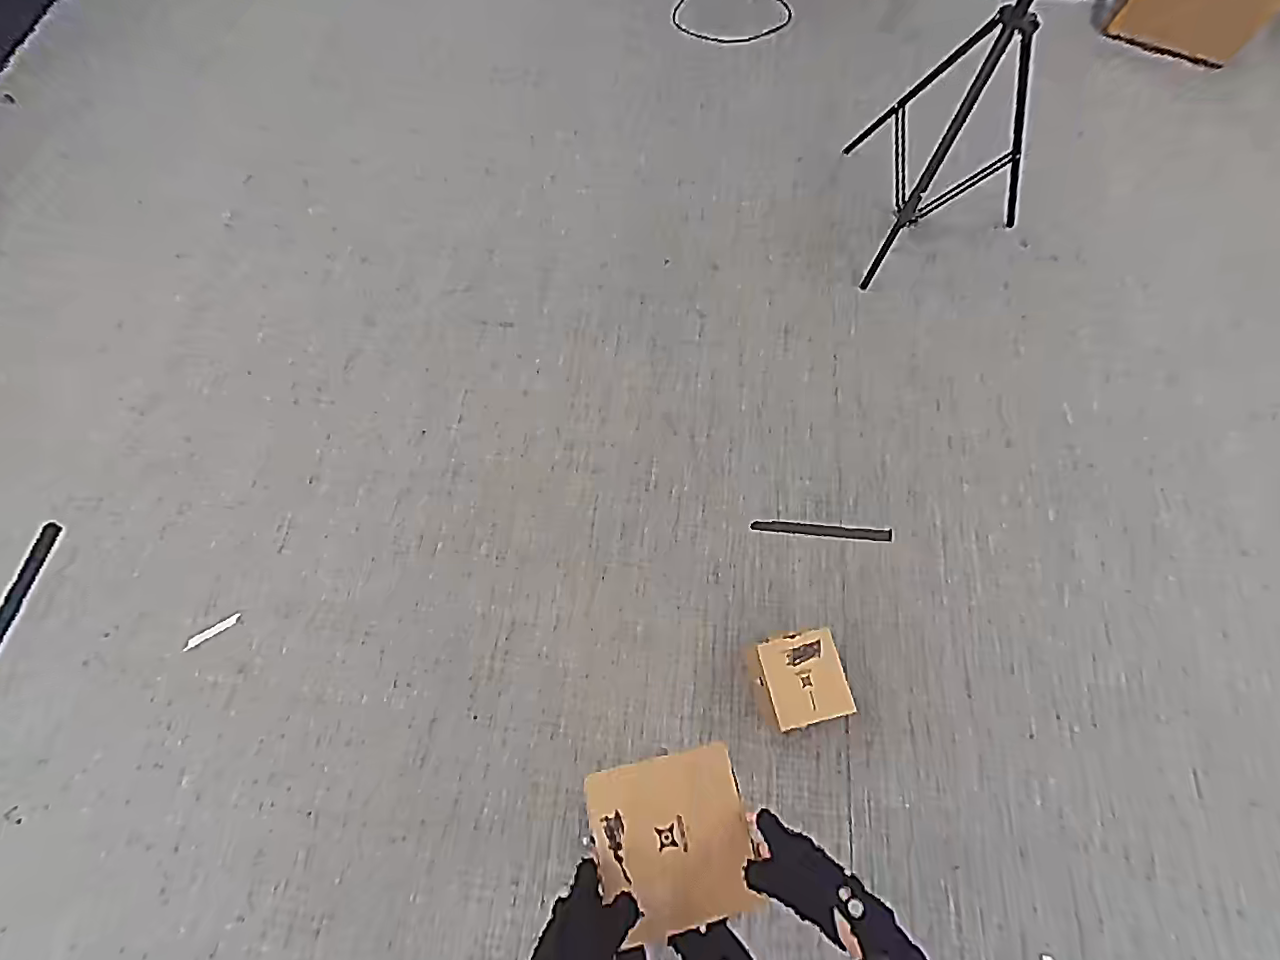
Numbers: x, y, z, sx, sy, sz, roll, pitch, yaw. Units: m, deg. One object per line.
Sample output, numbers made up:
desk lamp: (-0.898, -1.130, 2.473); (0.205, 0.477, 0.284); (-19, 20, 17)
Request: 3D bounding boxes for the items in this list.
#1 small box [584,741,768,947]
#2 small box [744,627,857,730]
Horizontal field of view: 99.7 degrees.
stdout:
small box: (0.030, 0.435, 0.671); (0.179, 0.176, 0.168); (-7, 60, -12)
small box: (0.341, 0.436, 1.190); (0.168, 0.176, 0.179); (-12, 69, -5)
